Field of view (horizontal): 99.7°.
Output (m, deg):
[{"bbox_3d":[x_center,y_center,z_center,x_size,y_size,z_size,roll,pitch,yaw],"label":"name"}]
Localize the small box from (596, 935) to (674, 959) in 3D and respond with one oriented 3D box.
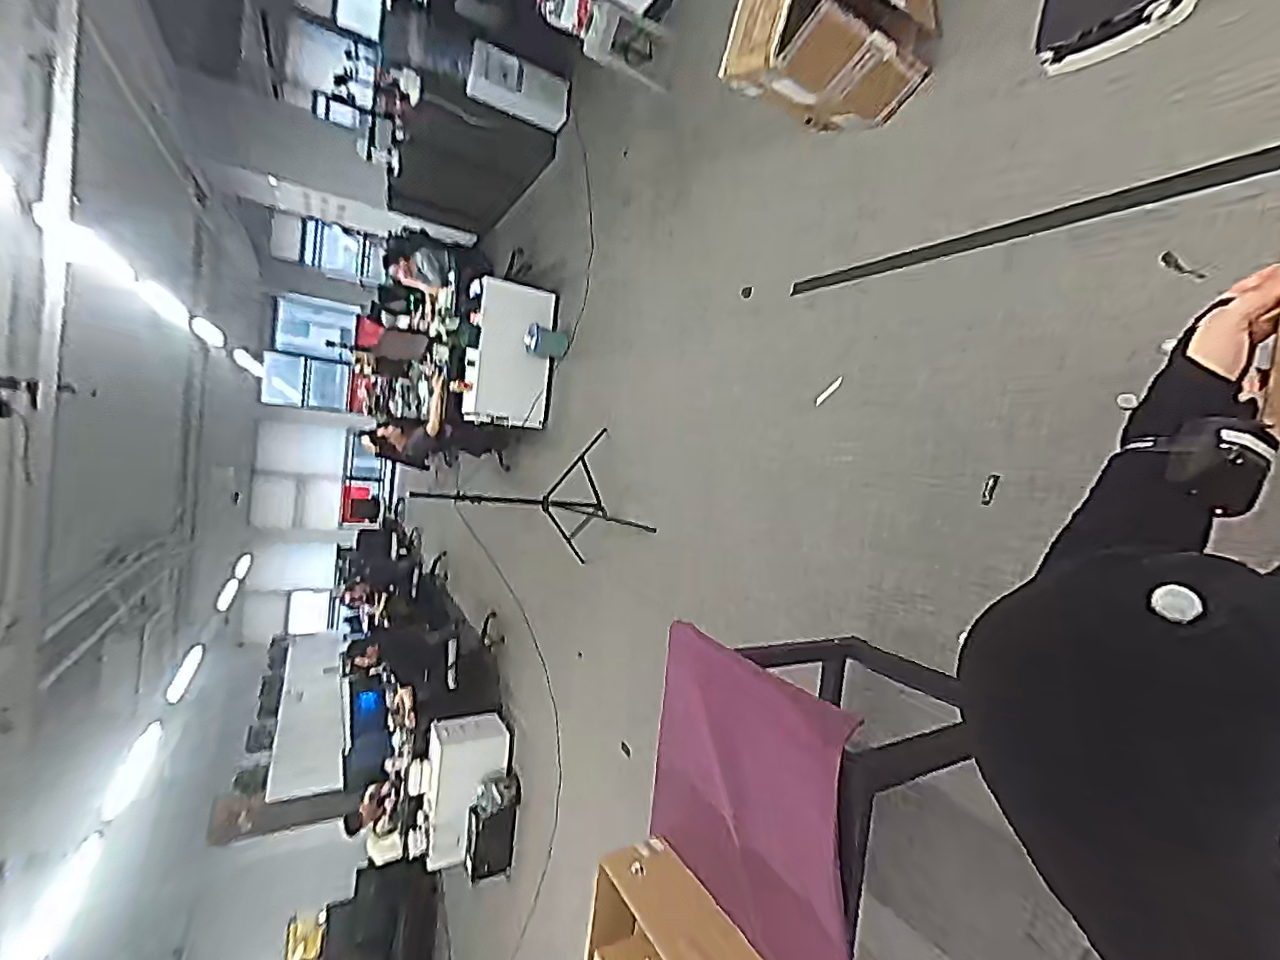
[{"bbox_3d":[0.004,1.169,1.193,0.168,0.176,0.179,5,89,58],"label":"small box"}]
